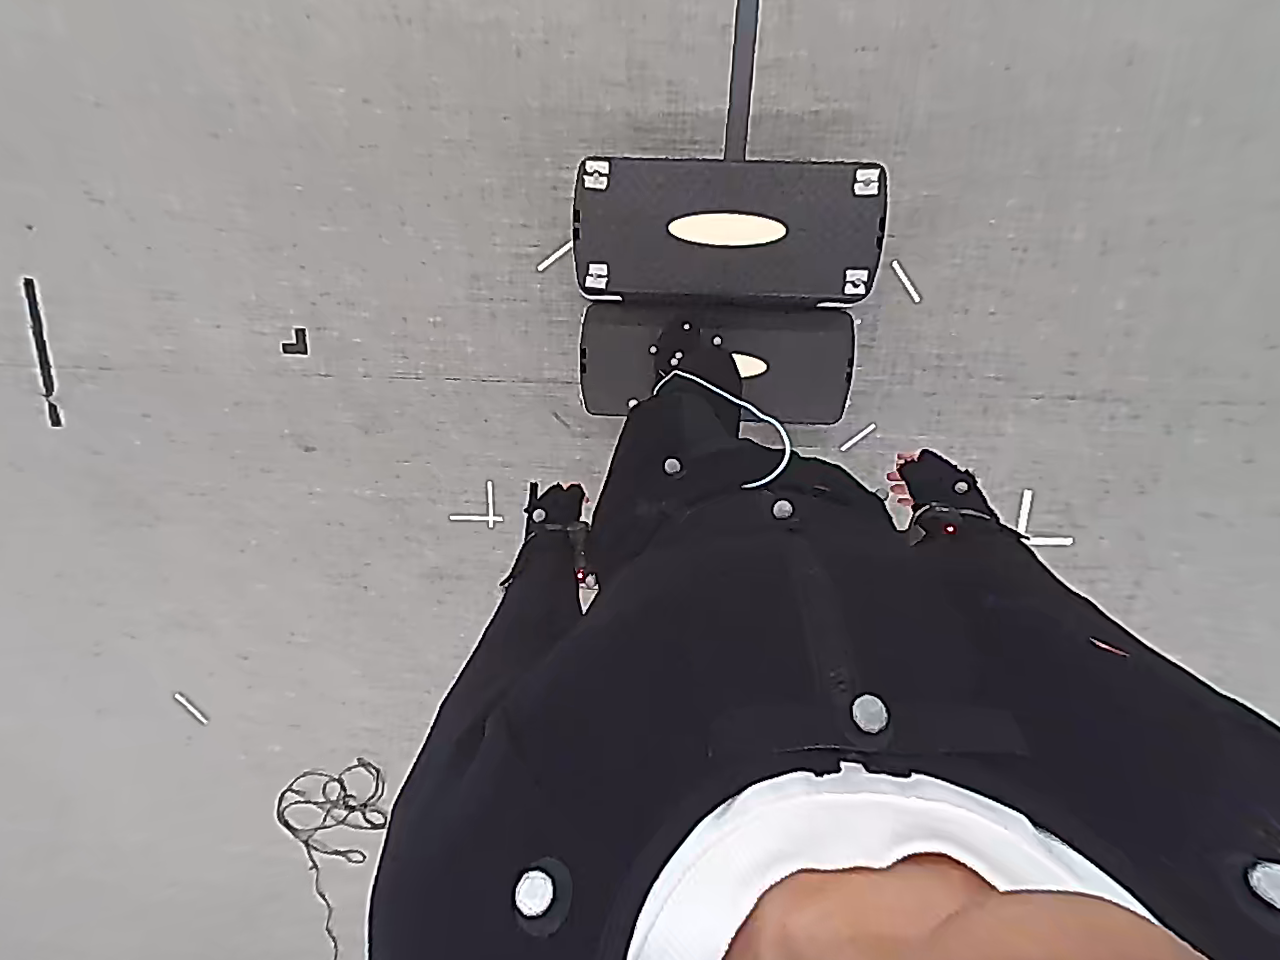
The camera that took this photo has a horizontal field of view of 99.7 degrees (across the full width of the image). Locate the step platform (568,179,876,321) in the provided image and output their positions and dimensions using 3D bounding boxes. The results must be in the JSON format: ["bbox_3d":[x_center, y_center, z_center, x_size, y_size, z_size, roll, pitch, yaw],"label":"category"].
[{"bbox_3d":[0.175,-0.524,1.253,0.684,0.204,0.286,1,105,2],"label":"step platform"}]
